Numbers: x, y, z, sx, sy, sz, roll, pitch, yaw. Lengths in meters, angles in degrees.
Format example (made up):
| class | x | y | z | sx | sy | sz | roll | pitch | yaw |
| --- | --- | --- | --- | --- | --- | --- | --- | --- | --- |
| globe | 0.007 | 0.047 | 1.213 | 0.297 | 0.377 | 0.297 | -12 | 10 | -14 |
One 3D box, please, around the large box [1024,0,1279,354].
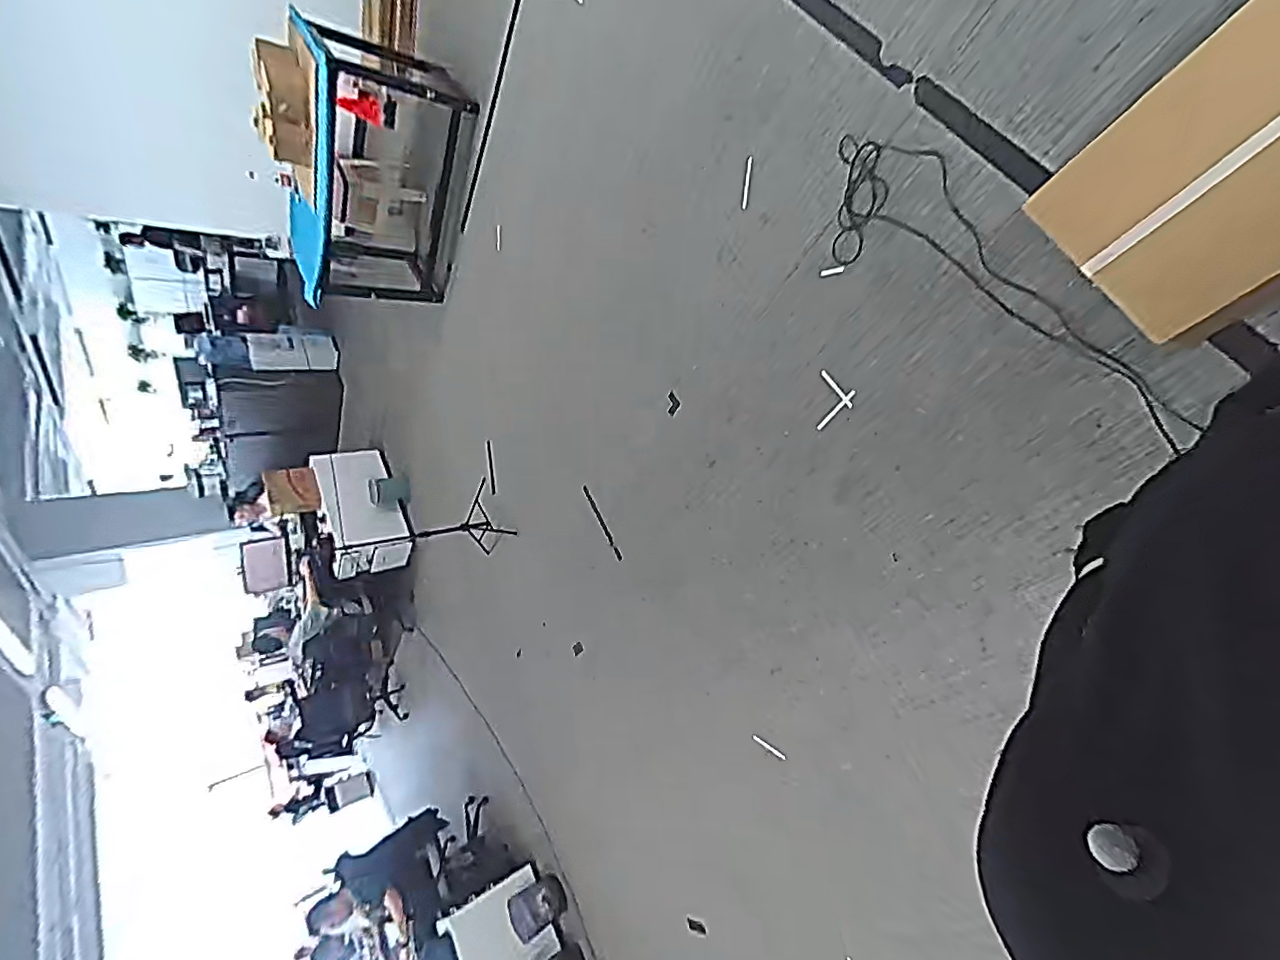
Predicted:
| class | x | y | z | sx | sy | sz | roll | pitch | yaw |
| --- | --- | --- | --- | --- | --- | --- | --- | --- | --- |
| large box | 0.918 | -0.441 | 0.818 | 0.408 | 0.320 | 0.320 | -48 | 60 | 44 |
